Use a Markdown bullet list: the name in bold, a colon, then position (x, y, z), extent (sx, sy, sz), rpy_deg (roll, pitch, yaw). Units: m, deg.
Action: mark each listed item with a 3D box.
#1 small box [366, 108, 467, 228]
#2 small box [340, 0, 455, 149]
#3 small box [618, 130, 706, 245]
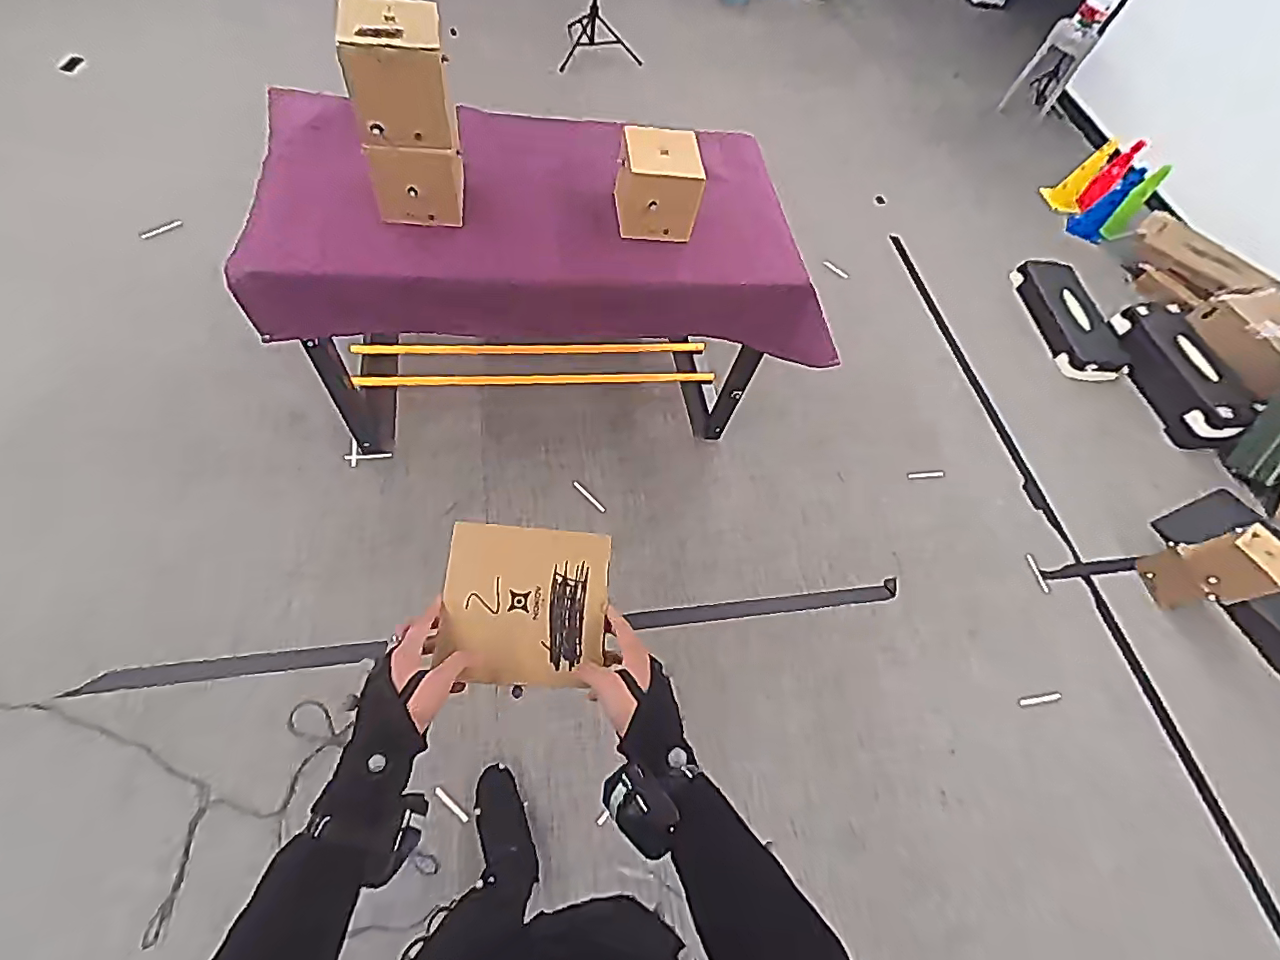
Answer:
- **small box**: position (-0.465, -0.666, 1.152), extent (0.168, 0.176, 0.179), rpy_deg (-1, 62, -12)
- **small box**: position (-0.443, -0.753, 1.014), extent (0.168, 0.176, 0.179), rpy_deg (-5, 63, -14)
- **small box**: position (0.045, -0.673, 1.256), extent (0.168, 0.176, 0.179), rpy_deg (-1, 62, -11)
